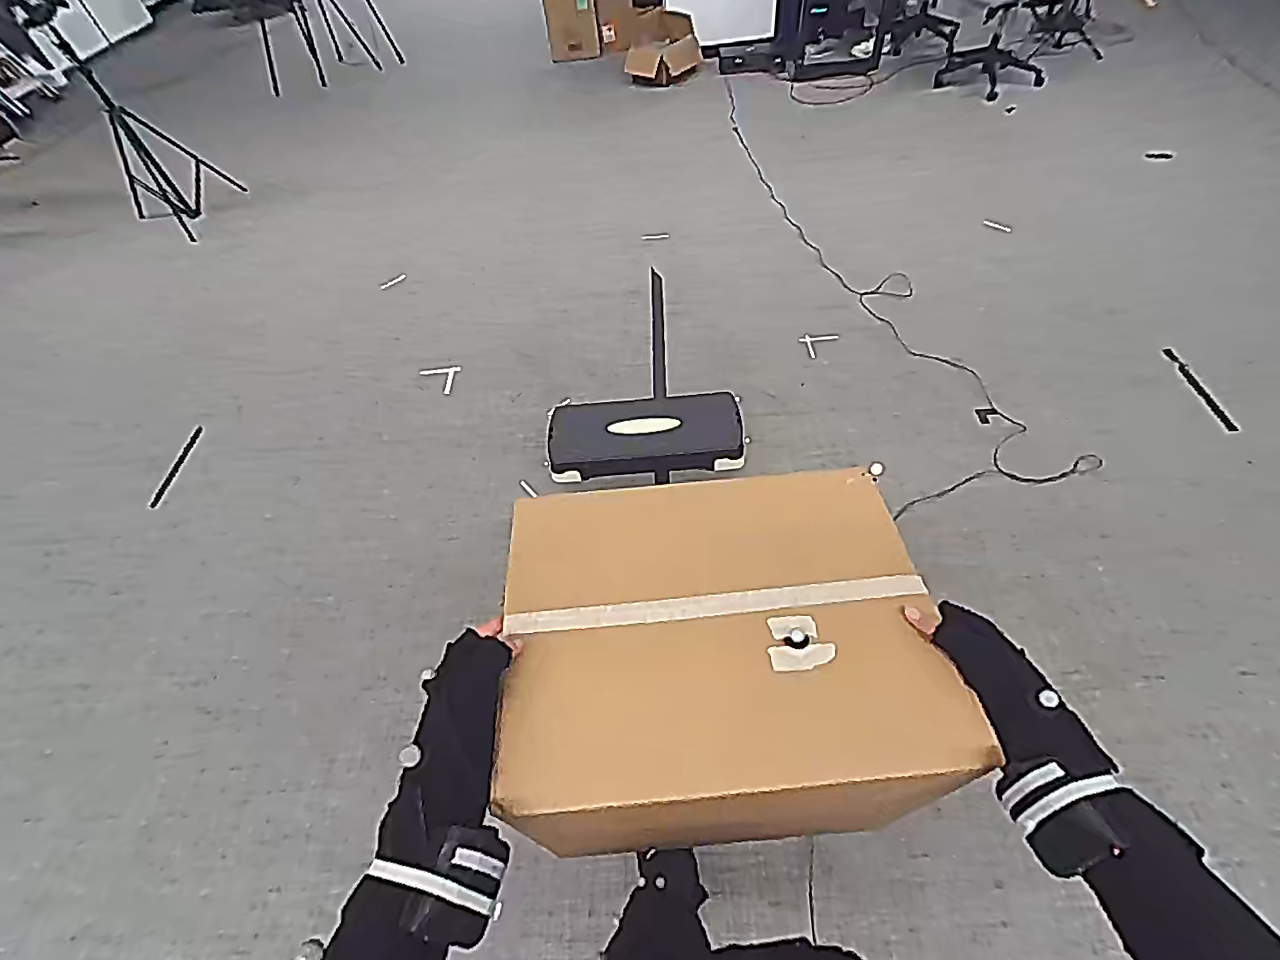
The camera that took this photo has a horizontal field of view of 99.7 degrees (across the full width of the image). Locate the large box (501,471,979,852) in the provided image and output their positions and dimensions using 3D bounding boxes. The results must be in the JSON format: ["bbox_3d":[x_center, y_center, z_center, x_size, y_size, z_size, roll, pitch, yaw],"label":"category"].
[{"bbox_3d":[0.076,0.220,0.645,0.408,0.320,0.320,-5,50,-1],"label":"large box"}]
